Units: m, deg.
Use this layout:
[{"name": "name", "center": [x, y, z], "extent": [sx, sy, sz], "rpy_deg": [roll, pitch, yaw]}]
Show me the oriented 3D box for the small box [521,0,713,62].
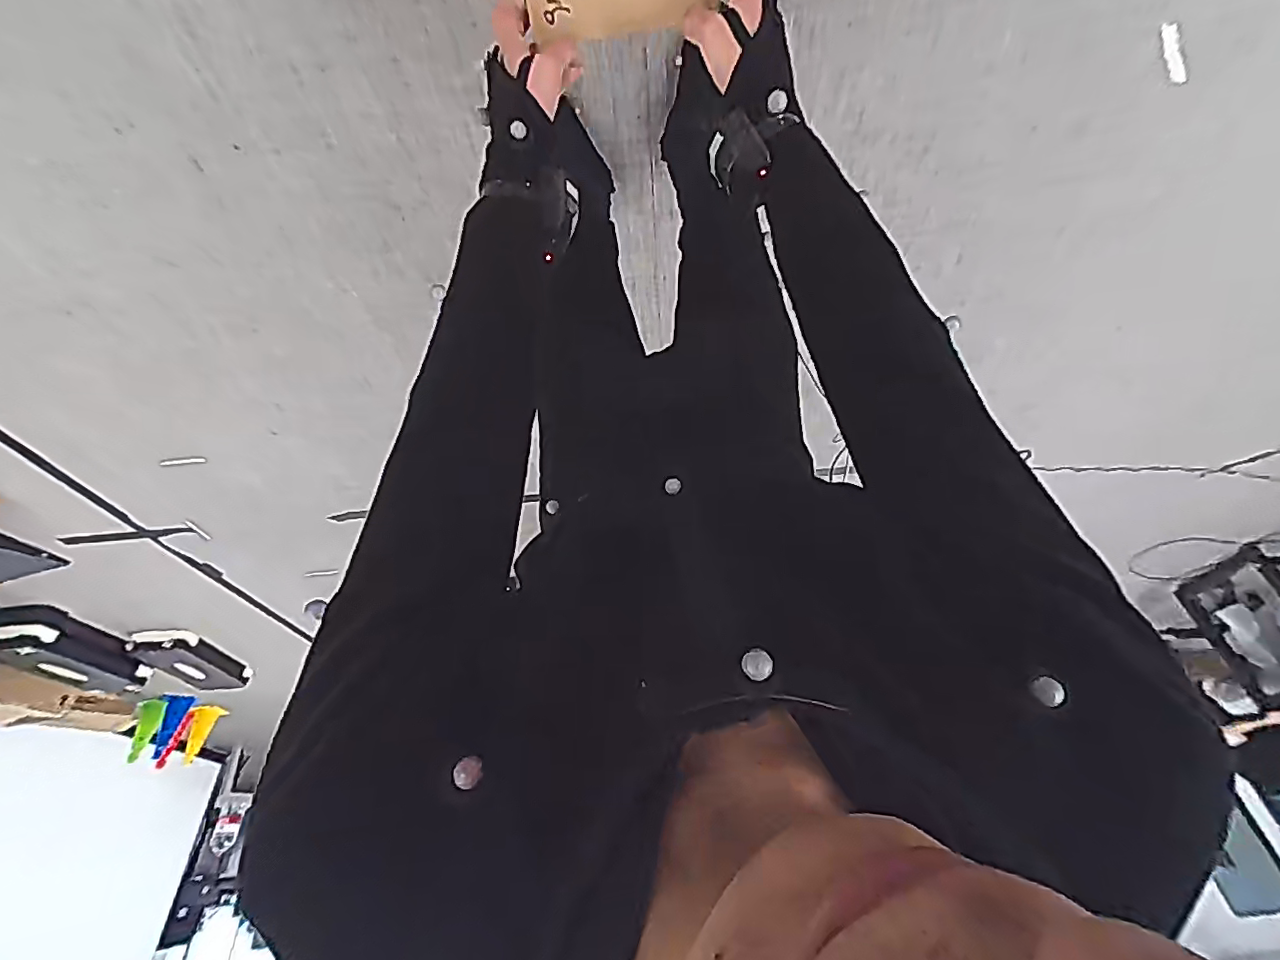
[{"name": "small box", "center": [-0.027, -0.526, 0.511], "extent": [0.179, 0.176, 0.168], "rpy_deg": [-5, 138, 5]}]
